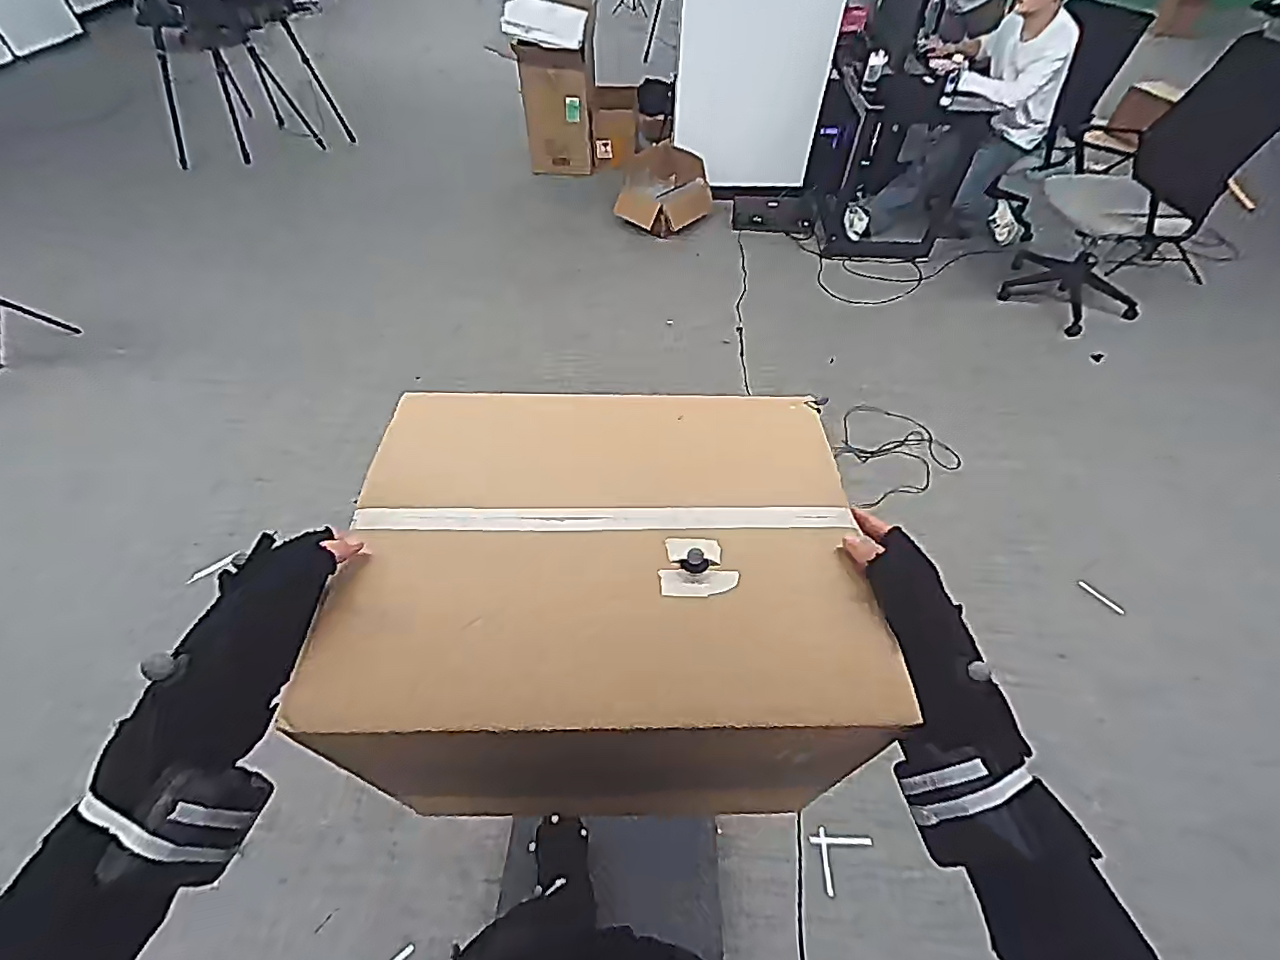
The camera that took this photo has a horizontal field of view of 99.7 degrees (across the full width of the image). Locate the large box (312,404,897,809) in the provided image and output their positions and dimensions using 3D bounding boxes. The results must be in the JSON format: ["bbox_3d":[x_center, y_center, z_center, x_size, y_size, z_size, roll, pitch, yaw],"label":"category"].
[{"bbox_3d":[-0.030,0.136,0.570,0.408,0.320,0.320,1,50,-2],"label":"large box"}]
